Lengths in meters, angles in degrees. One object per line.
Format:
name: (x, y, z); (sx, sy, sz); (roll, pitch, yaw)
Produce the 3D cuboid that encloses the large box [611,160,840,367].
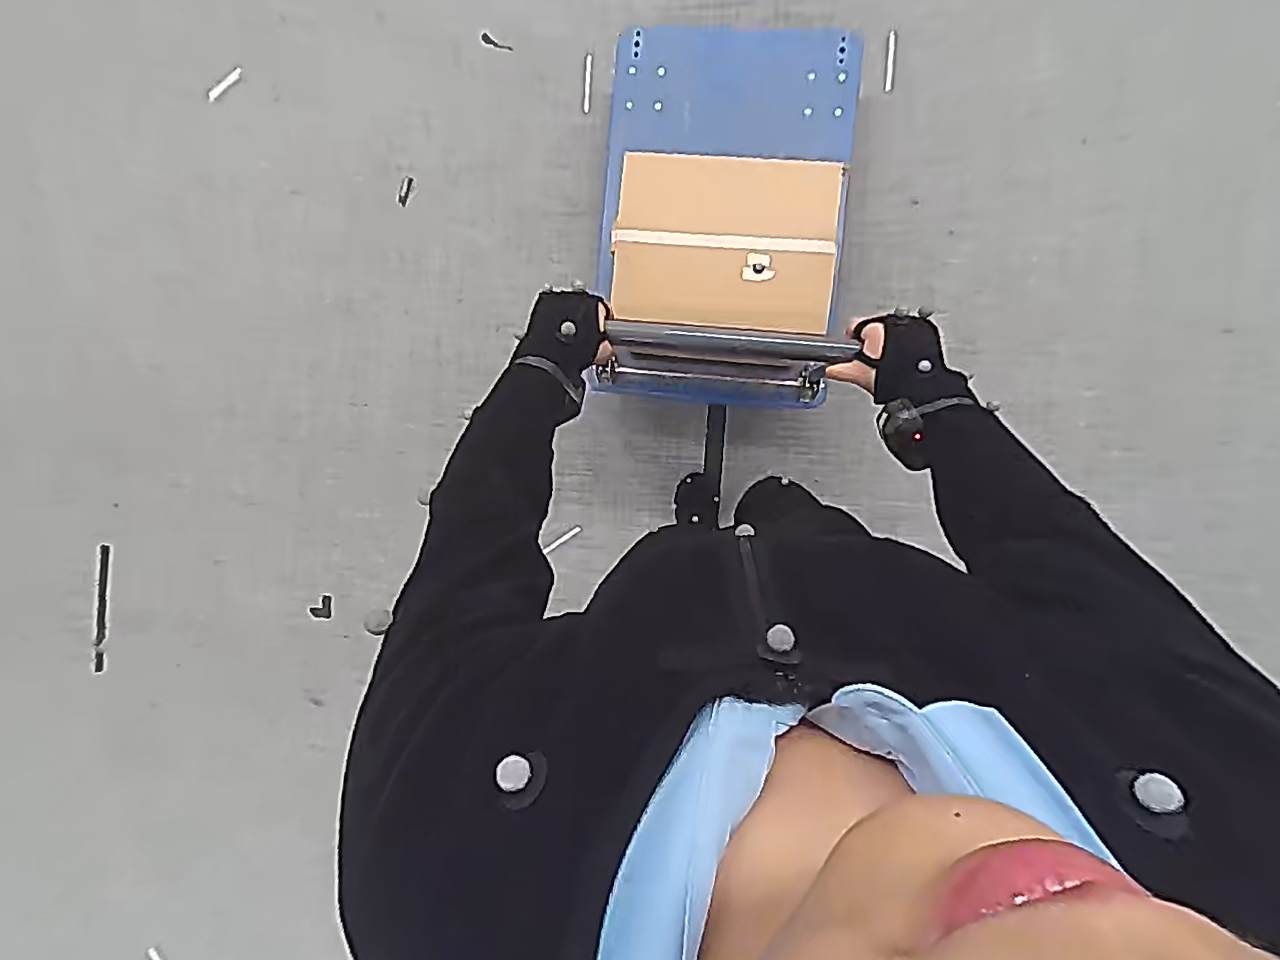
large box: (0.162, -0.430, 1.142); (0.408, 0.320, 0.320); (6, 92, 4)
